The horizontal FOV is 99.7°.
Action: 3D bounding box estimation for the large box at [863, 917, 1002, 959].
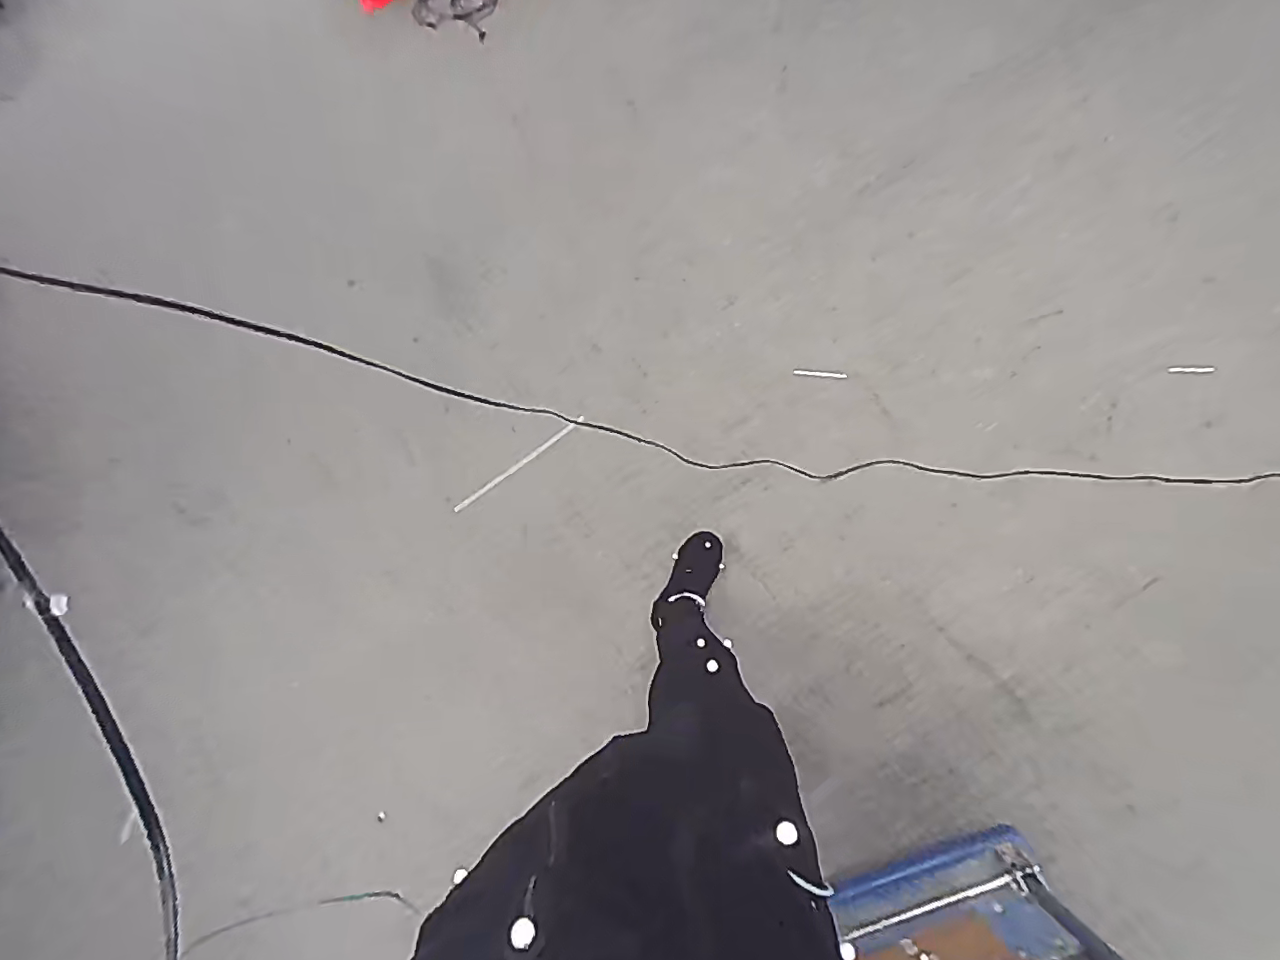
[{"bbox_3d":[0.555,1.040,0.855,0.320,0.320,0.408,-25,73,5],"label":"large box"}]
